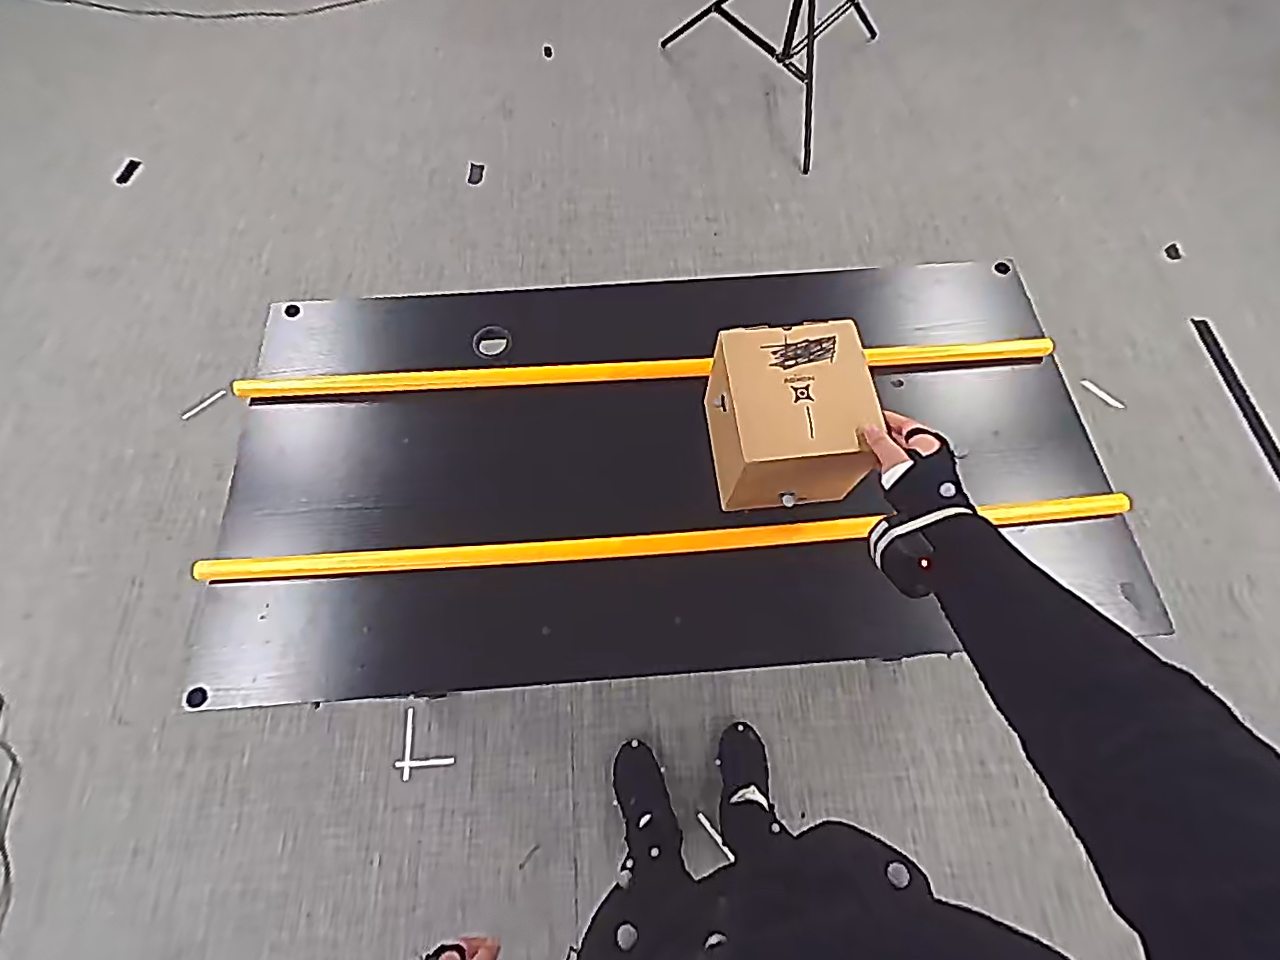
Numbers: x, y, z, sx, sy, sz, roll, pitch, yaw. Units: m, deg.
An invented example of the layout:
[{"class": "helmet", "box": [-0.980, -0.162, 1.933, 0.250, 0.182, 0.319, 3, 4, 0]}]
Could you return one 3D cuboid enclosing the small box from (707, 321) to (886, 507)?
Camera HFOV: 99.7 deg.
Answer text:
[{"class": "small box", "box": [0.185, -0.078, 0.700, 0.168, 0.176, 0.179, -5, 69, -2]}]
